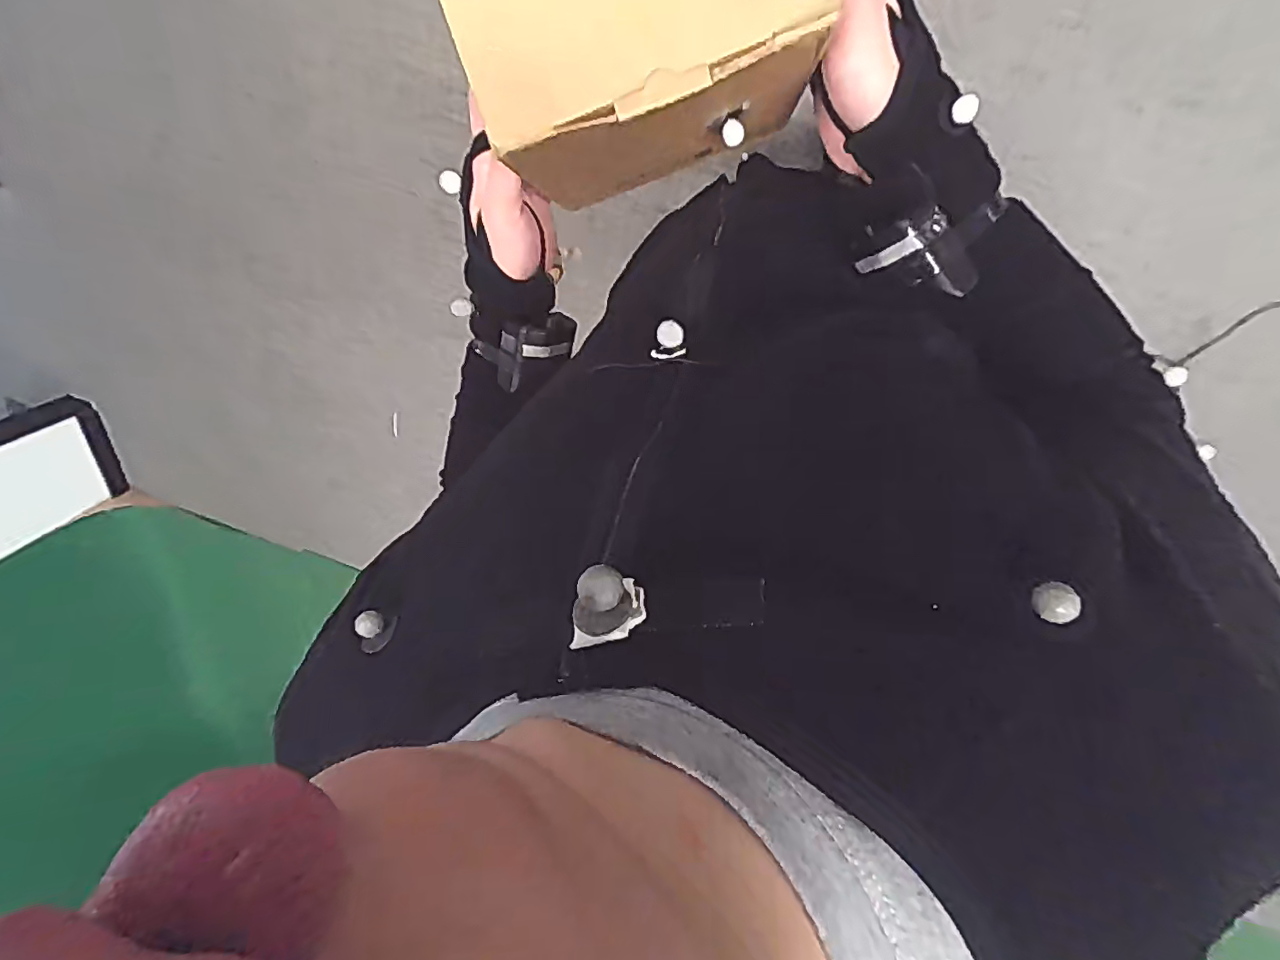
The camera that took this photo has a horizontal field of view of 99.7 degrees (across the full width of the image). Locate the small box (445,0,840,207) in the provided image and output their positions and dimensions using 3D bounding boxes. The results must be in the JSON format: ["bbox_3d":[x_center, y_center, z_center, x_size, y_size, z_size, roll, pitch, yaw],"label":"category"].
[{"bbox_3d":[-0.007,-0.273,0.301,0.168,0.176,0.179,-16,104,10],"label":"small box"}]
